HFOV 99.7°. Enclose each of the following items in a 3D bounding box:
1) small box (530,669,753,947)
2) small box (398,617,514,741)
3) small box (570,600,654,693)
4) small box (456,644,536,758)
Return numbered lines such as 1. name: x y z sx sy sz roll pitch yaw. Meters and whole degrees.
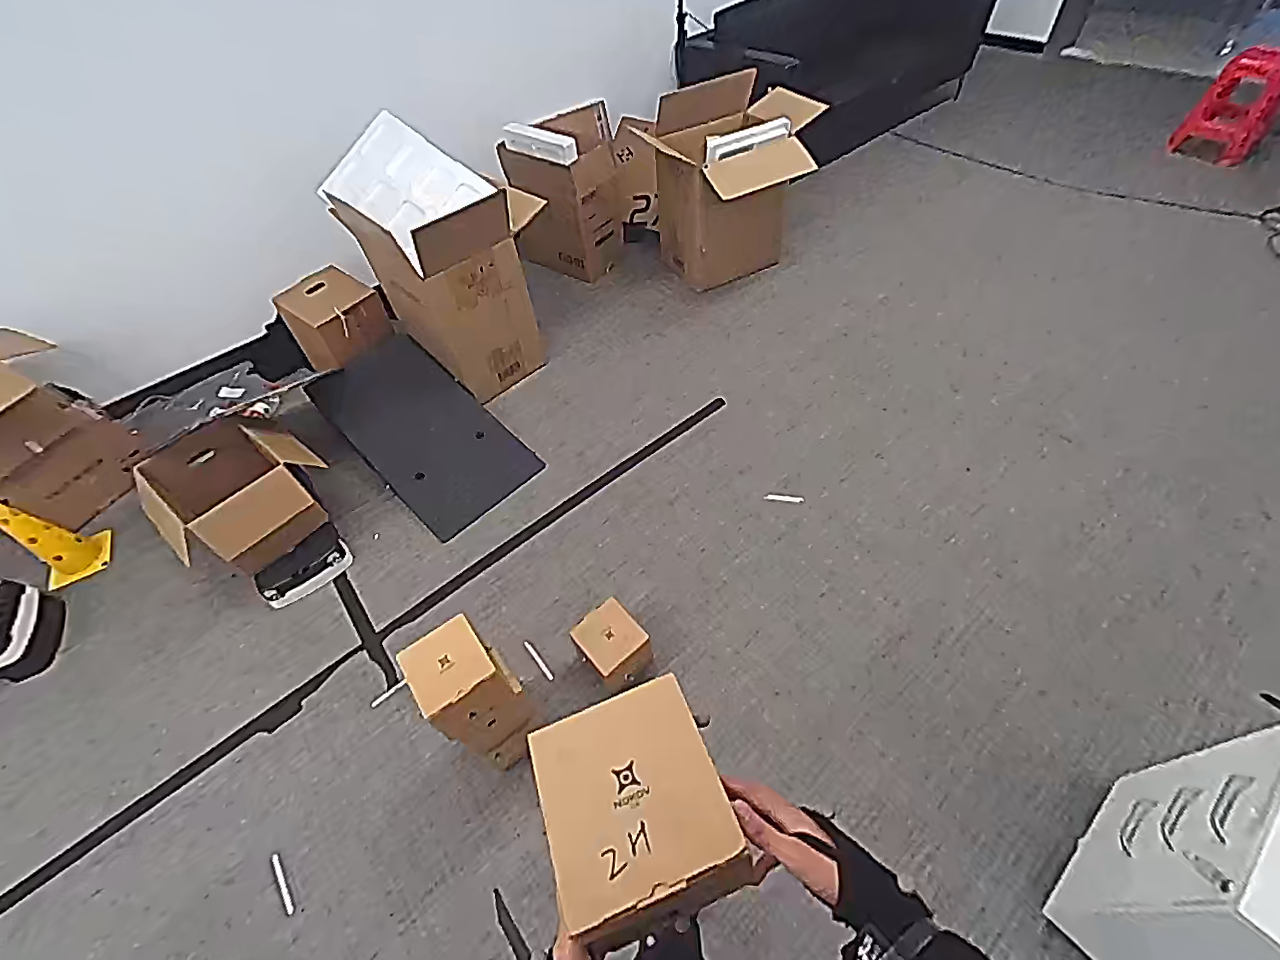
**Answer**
1. small box: 0.003 0.335 0.556 0.168 0.176 0.179 -22 45 -7
2. small box: -0.409 0.452 1.220 0.168 0.176 0.179 -33 55 -20
3. small box: -0.077 0.493 1.578 0.168 0.176 0.179 -37 57 -21
4. small box: -0.384 0.553 1.345 0.179 0.176 0.168 -34 55 -22
